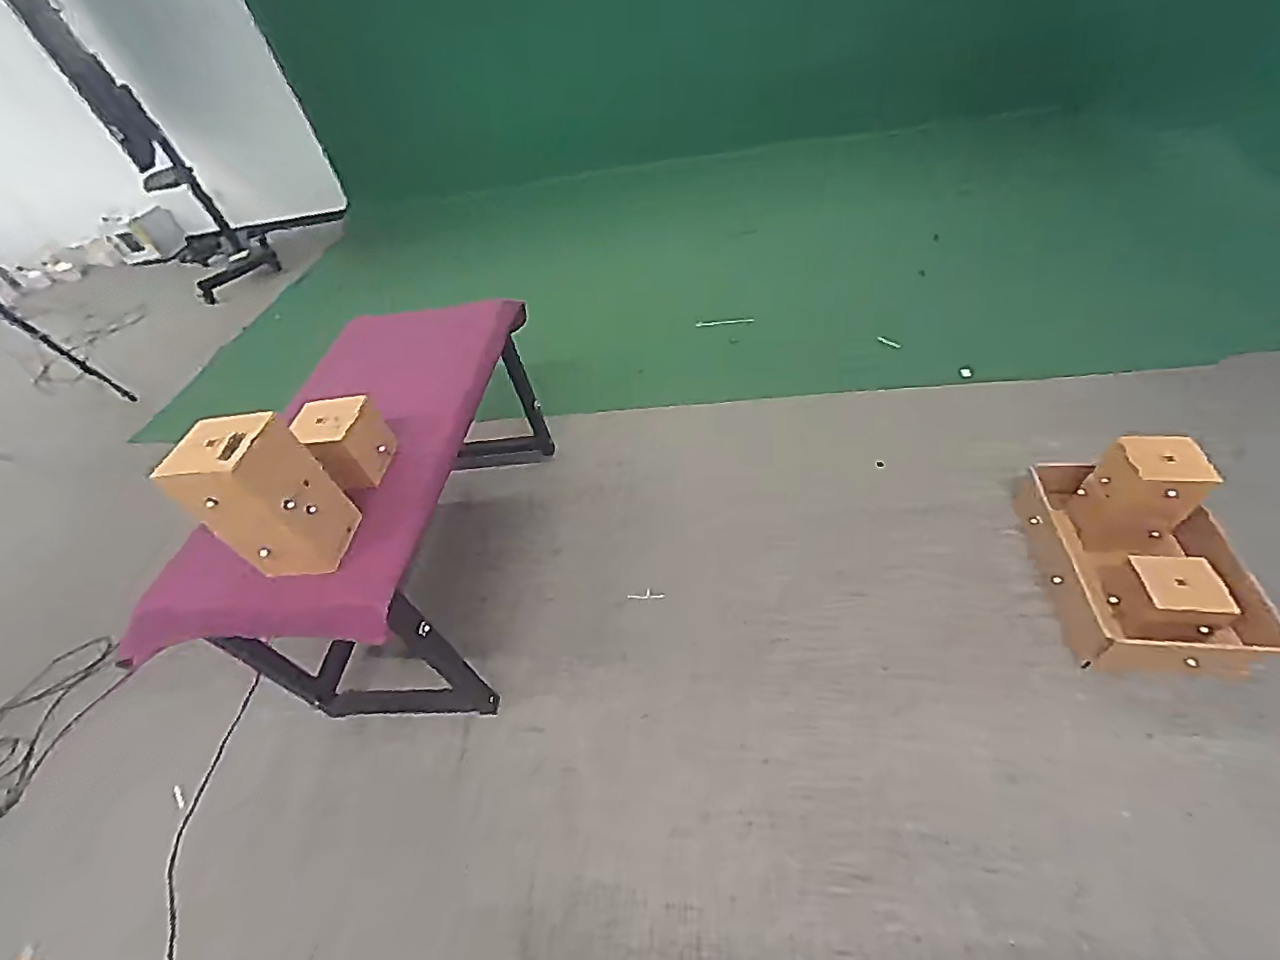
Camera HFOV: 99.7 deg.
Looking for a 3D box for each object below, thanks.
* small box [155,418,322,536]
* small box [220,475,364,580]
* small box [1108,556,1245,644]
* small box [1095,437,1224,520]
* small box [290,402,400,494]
[{"bbox_3d":[-0.793,-0.002,1.092,0.179,0.176,0.168,-5,46,9],"label":"small box"},{"bbox_3d":[-0.765,0.110,1.210,0.179,0.176,0.168,-5,47,9],"label":"small box"},{"bbox_3d":[1.403,0.320,1.430,0.179,0.176,0.168,0,47,13],"label":"small box"},{"bbox_3d":[1.425,-0.001,1.498,0.179,0.176,0.168,1,49,13],"label":"small box"},{"bbox_3d":[-0.753,-0.075,1.380,0.179,0.176,0.168,-5,47,9],"label":"small box"}]
